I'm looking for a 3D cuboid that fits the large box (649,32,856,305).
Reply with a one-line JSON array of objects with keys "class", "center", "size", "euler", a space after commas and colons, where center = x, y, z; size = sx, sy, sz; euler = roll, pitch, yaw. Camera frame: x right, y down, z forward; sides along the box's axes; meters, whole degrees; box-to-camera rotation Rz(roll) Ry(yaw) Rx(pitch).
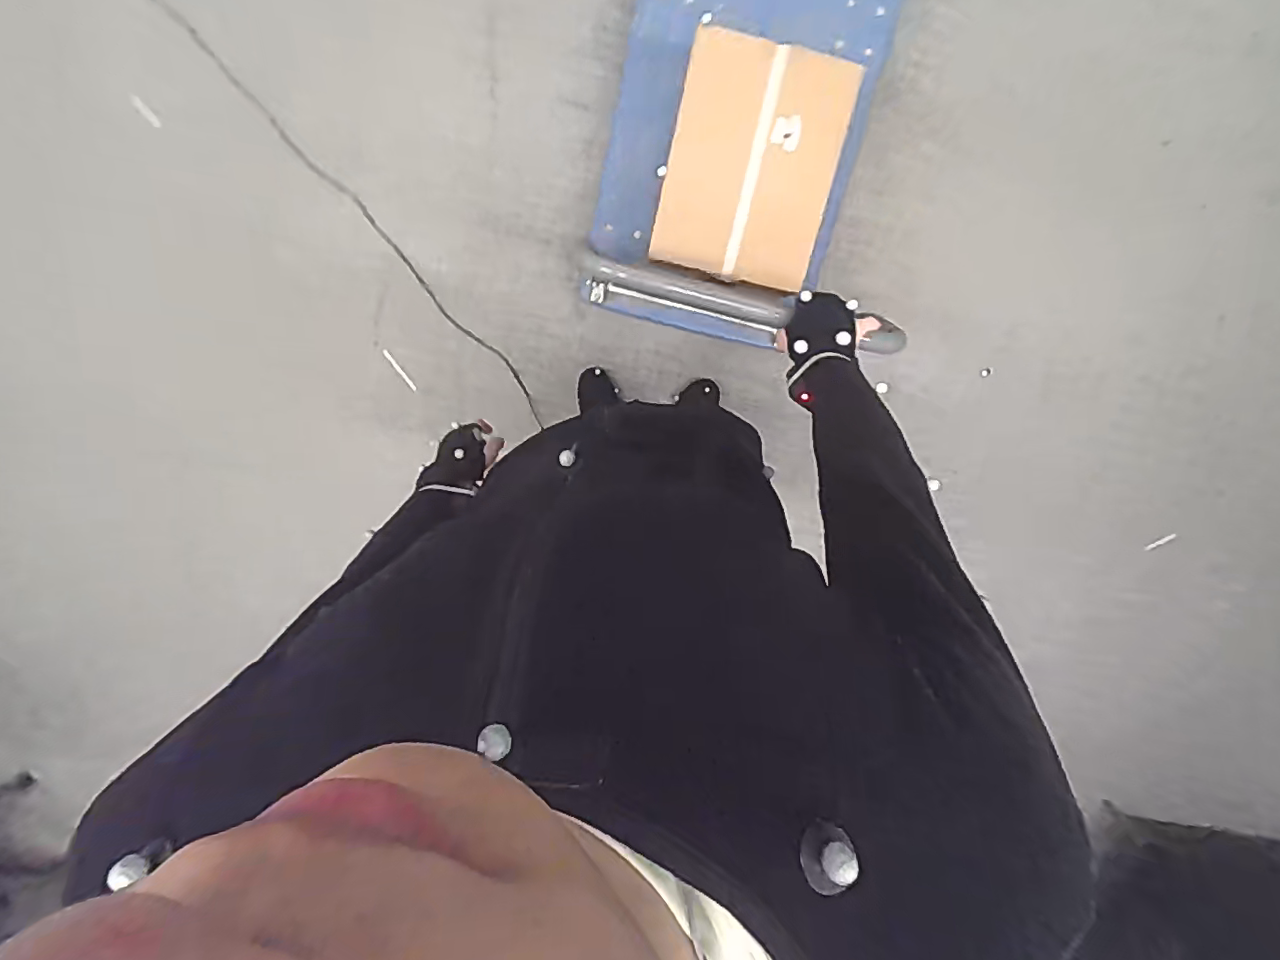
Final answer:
[{"class": "large box", "center": [0.206, -0.621, 1.166], "size": [0.320, 0.320, 0.408], "euler": [12, 103, -4]}]
